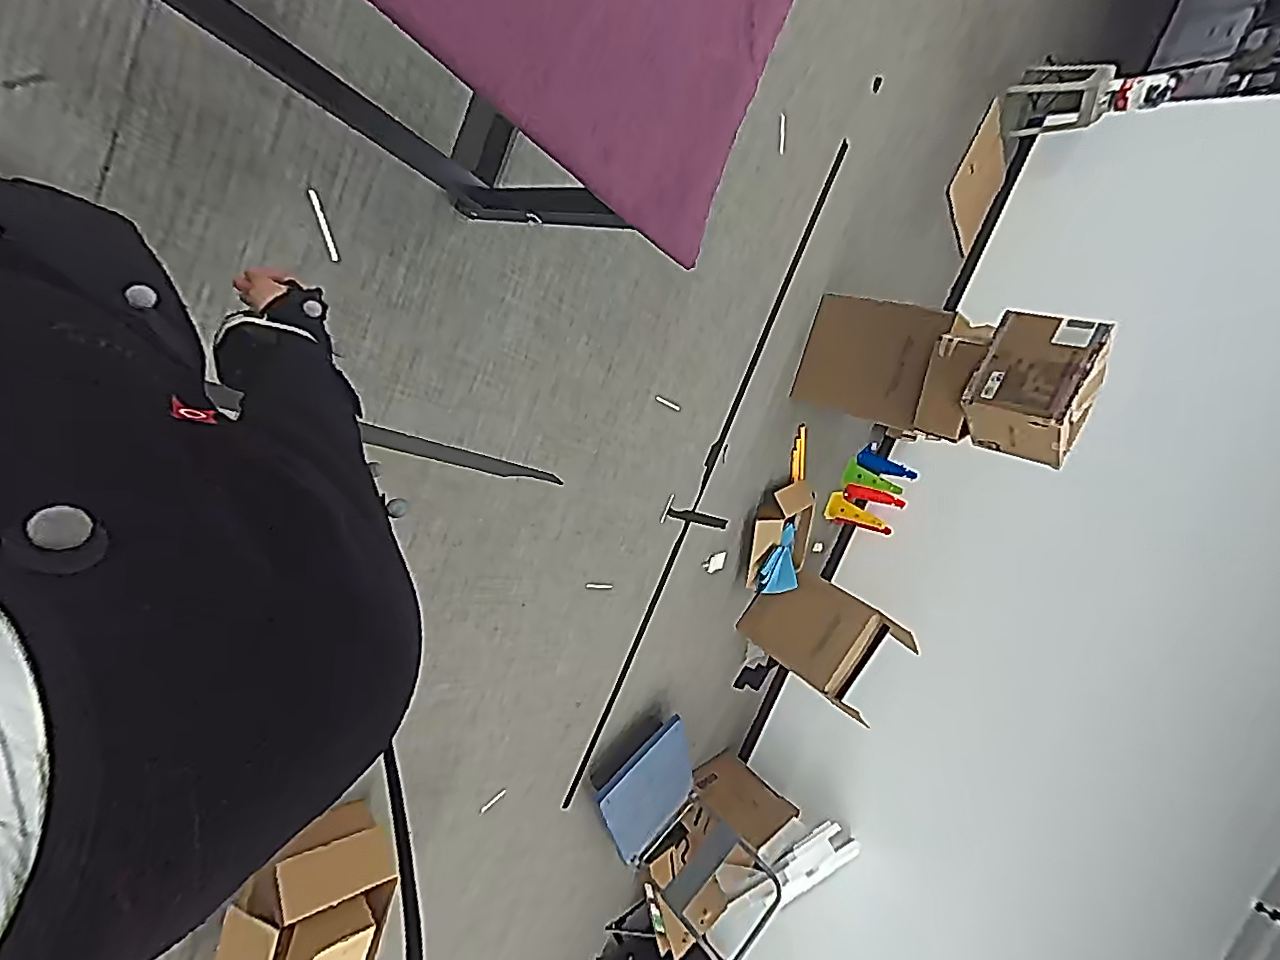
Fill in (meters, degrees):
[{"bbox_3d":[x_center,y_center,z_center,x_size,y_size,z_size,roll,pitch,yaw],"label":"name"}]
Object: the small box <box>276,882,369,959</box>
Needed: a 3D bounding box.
[{"bbox_3d":[-0.904,1.303,1.531,0.168,0.176,0.179,11,102,-50],"label":"small box"}]
